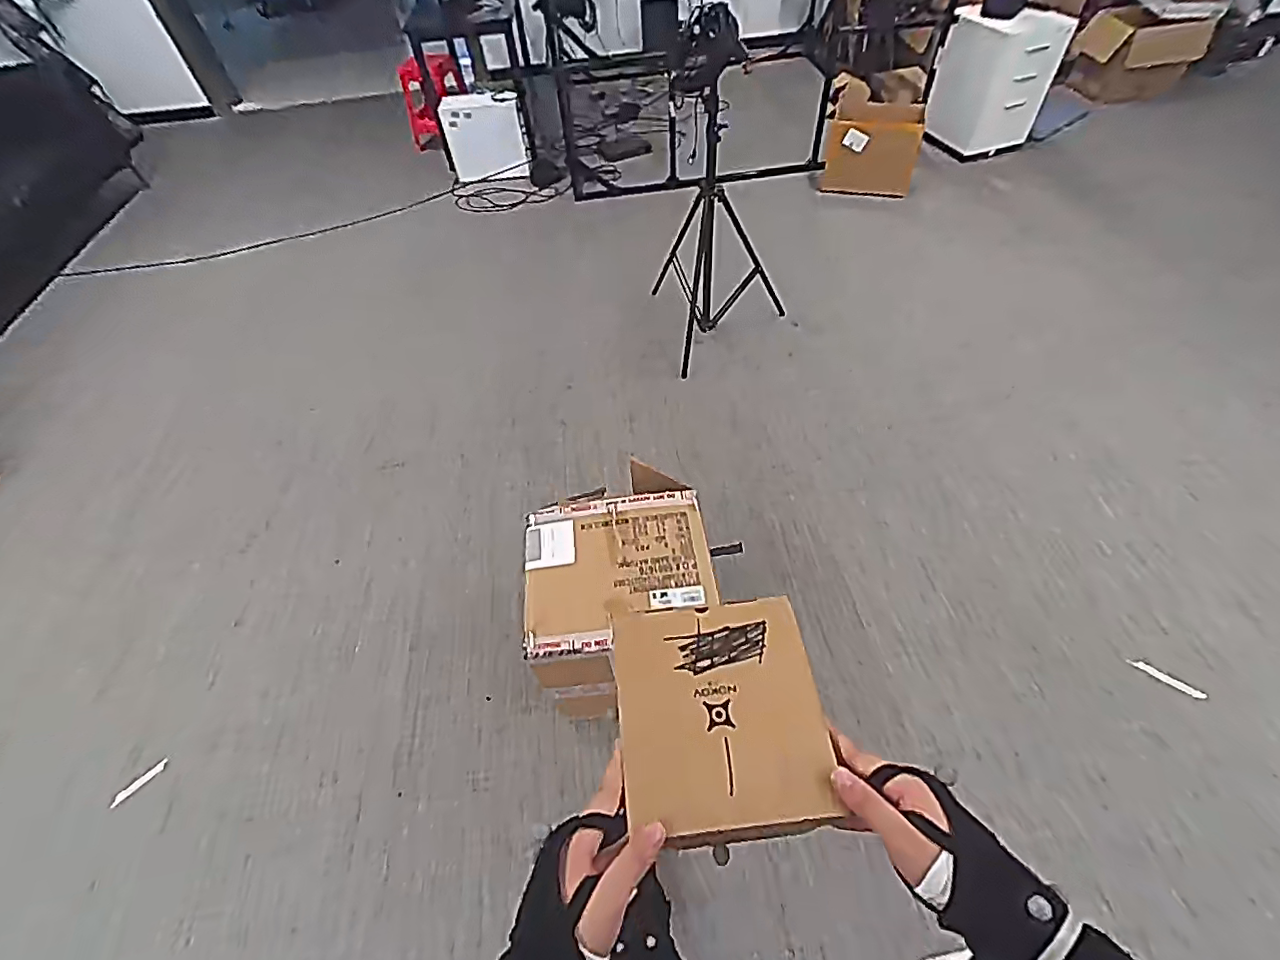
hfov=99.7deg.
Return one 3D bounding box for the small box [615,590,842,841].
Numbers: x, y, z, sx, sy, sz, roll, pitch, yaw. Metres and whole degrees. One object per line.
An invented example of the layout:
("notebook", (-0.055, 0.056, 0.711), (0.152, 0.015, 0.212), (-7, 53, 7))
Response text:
("small box", (0.065, 0.226, 0.514), (0.168, 0.176, 0.179), (-5, 53, -2))
